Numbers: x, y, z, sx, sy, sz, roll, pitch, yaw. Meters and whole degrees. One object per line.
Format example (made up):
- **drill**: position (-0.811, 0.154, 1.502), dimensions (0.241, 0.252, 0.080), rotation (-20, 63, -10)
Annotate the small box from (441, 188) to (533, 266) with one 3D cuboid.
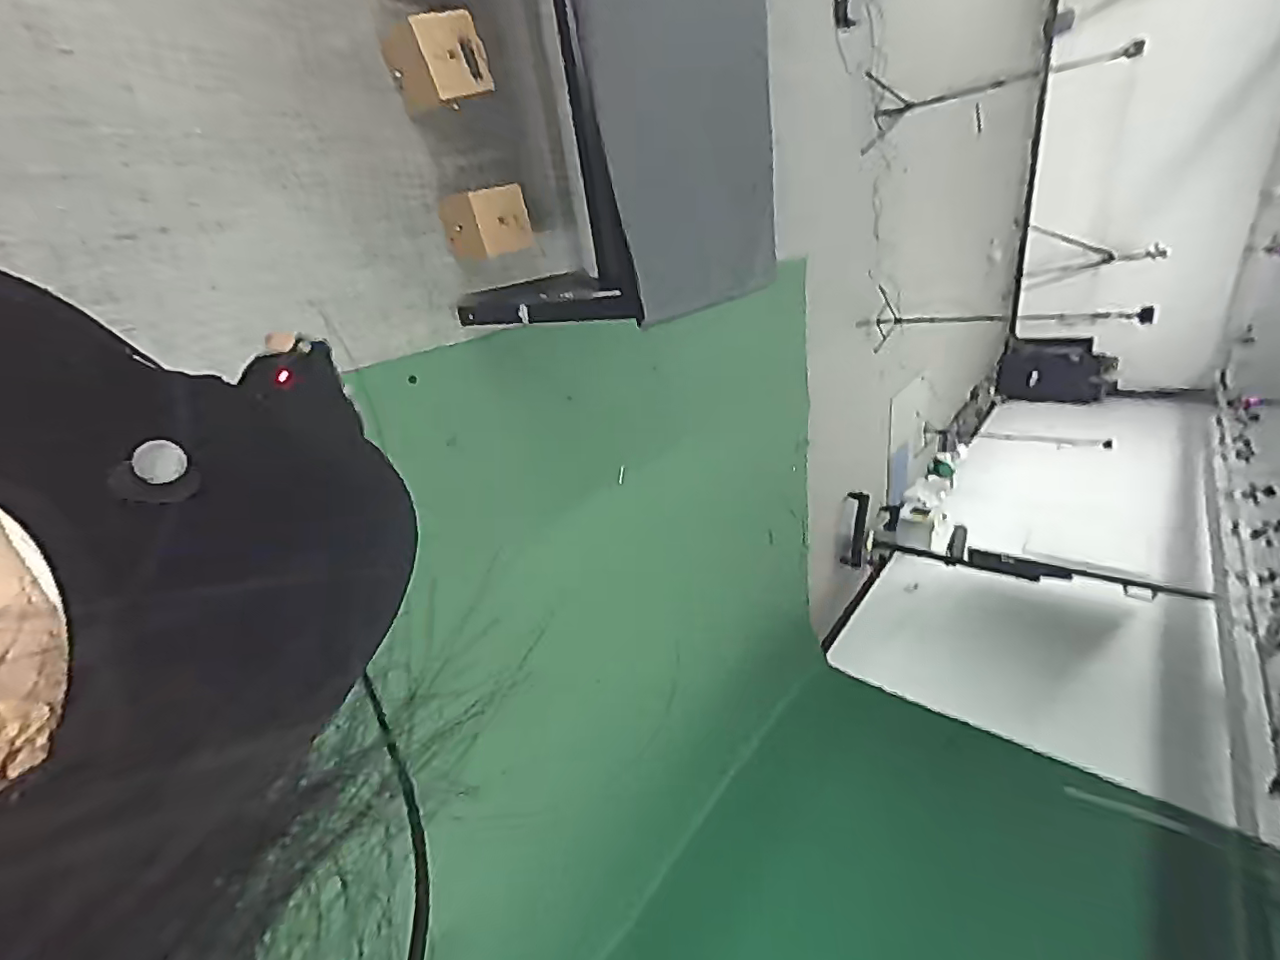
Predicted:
- **small box**: position (-0.441, -0.719, 1.542), dimensions (0.179, 0.176, 0.168), rotation (-37, 126, -38)
